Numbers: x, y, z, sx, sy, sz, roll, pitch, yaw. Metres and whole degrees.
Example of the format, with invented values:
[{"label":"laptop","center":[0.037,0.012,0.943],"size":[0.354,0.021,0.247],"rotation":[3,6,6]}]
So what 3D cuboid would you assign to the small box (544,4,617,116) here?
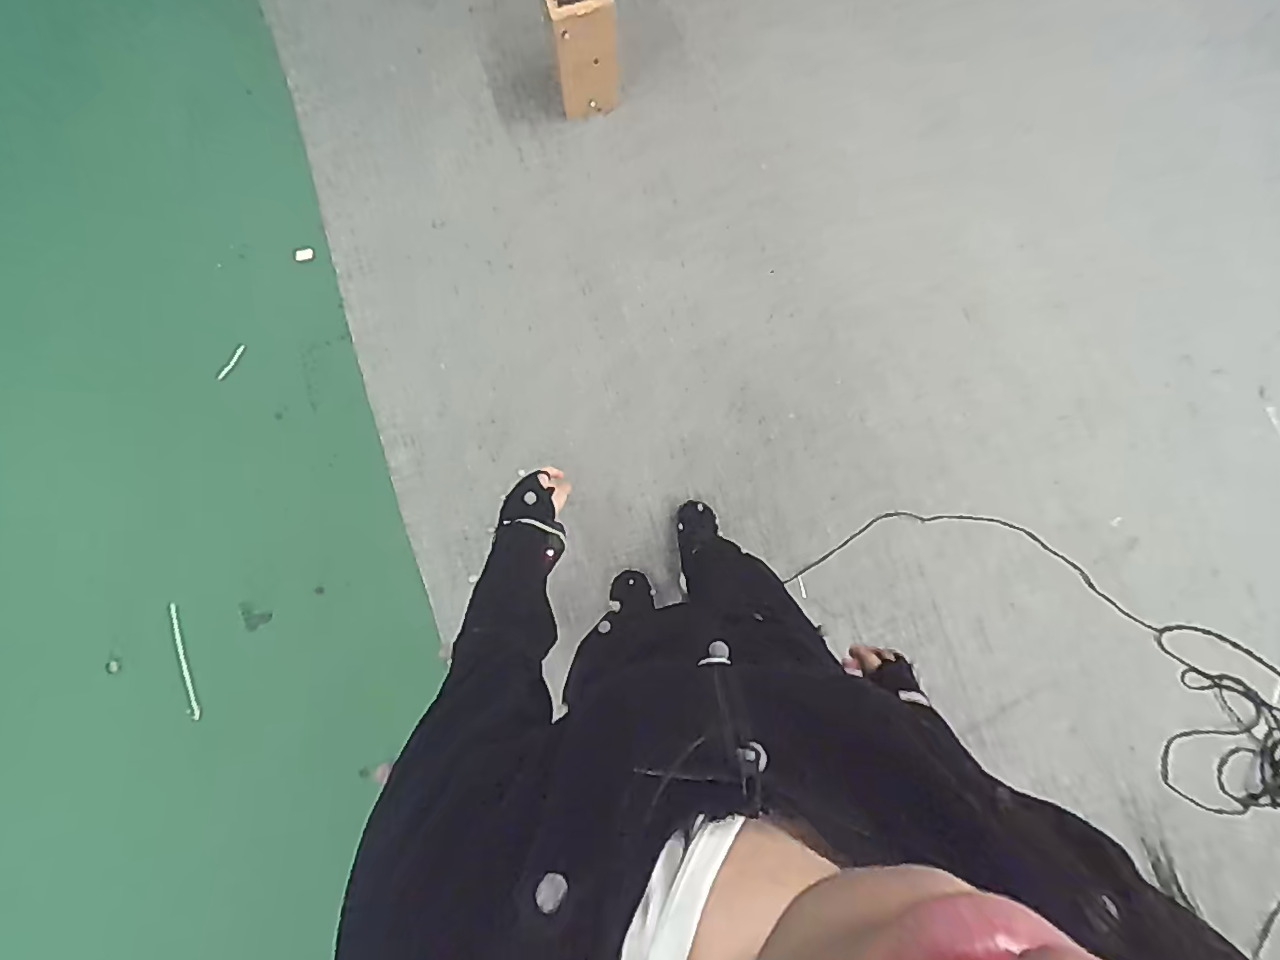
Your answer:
[{"label":"small box","center":[-0.170,-1.212,1.570],"size":[0.168,0.176,0.179],"rotation":[-17,86,-3]}]
